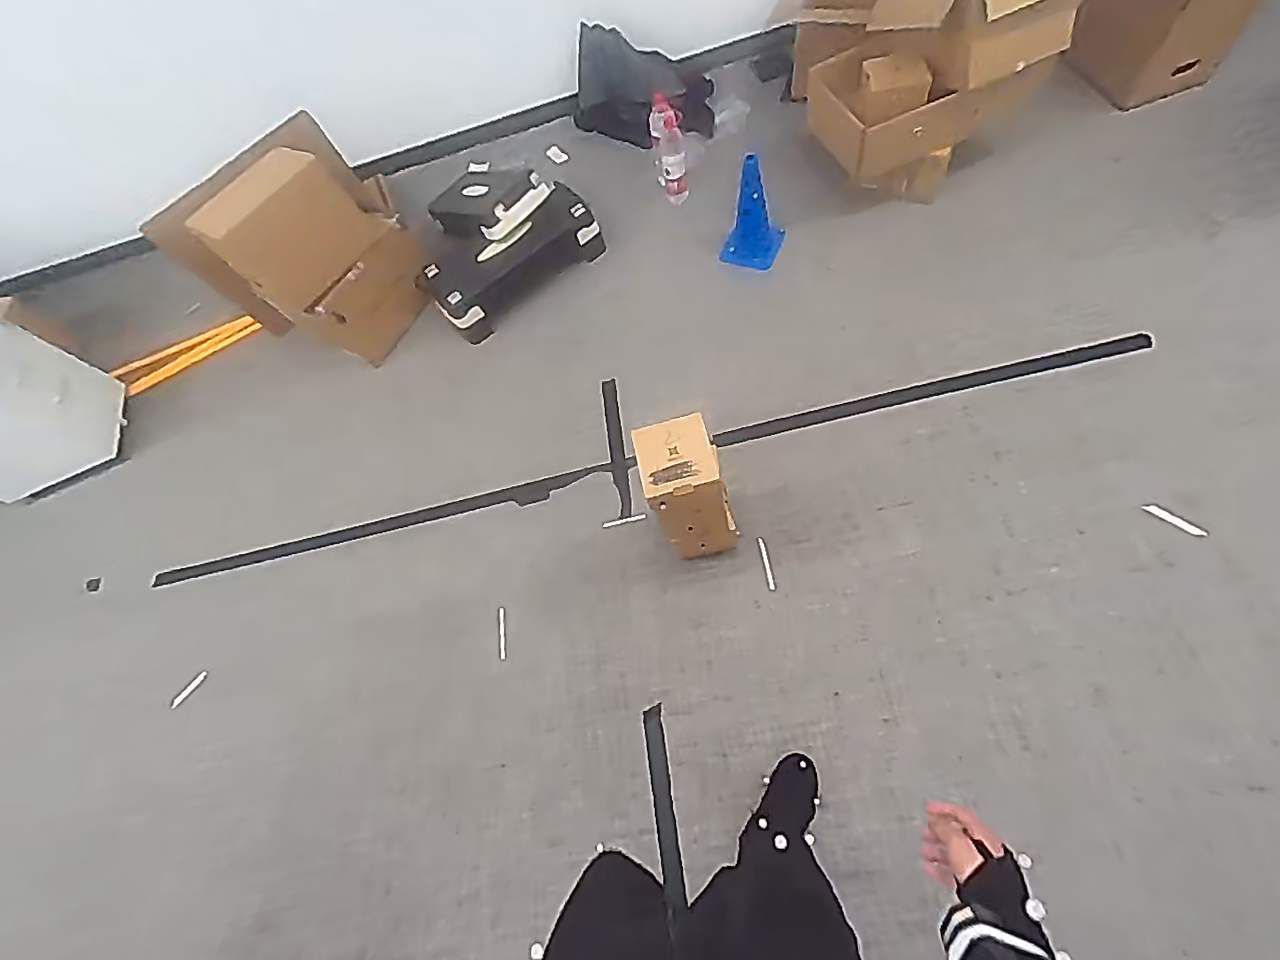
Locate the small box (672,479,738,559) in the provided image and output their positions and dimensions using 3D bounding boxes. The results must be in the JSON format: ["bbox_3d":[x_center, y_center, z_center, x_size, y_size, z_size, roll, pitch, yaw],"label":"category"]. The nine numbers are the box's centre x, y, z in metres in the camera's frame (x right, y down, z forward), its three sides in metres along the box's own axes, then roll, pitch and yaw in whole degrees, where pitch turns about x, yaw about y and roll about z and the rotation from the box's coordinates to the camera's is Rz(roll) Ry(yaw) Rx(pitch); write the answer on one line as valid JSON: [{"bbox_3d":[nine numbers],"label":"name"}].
[{"bbox_3d":[0.177,0.114,1.537,0.179,0.176,0.168,-14,64,8],"label":"small box"}]

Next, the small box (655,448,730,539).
[{"bbox_3d":[0.138,0.039,1.398,0.168,0.176,0.179,-9,65,9],"label":"small box"}]
